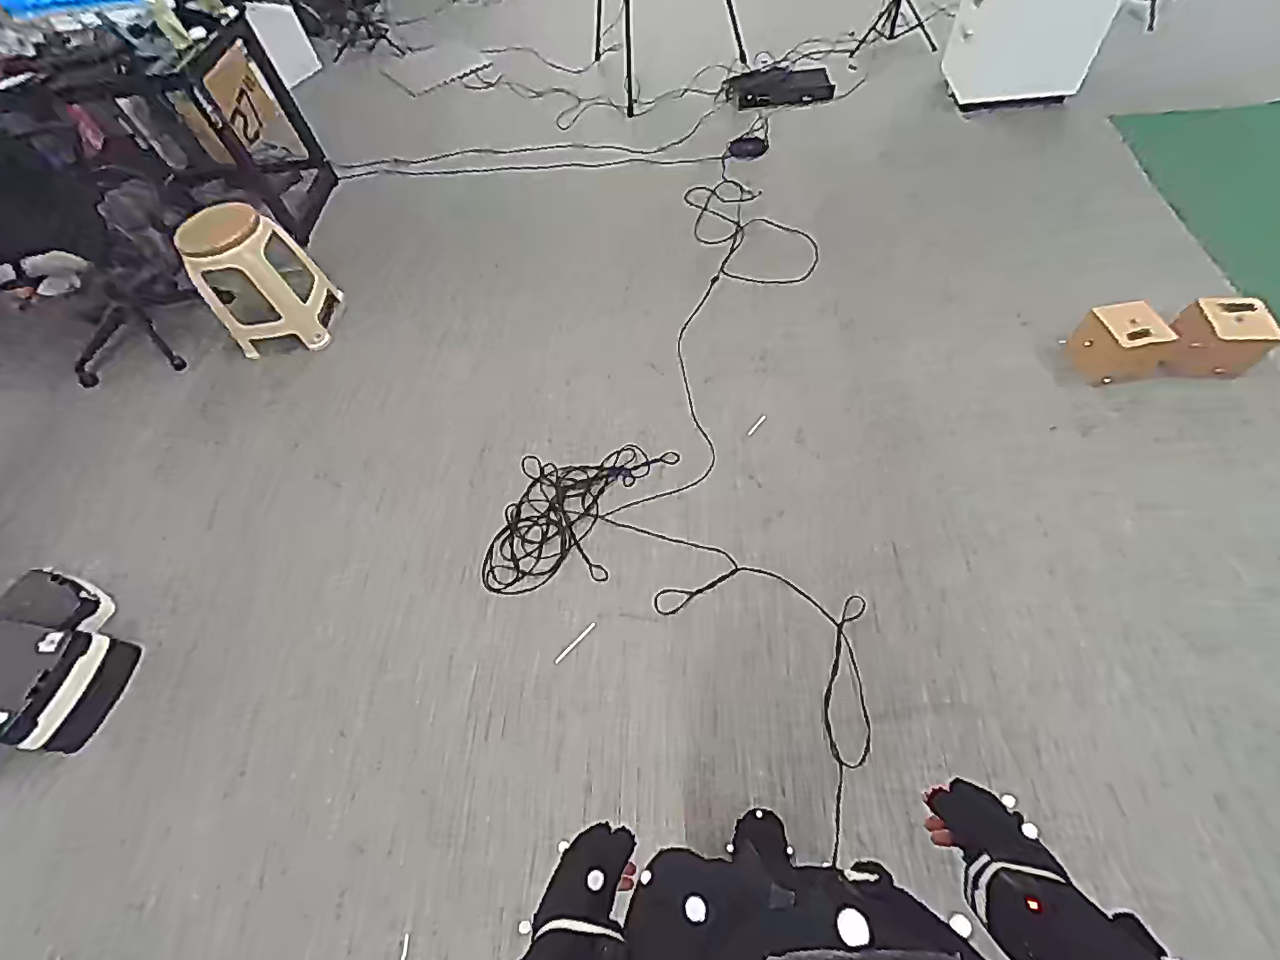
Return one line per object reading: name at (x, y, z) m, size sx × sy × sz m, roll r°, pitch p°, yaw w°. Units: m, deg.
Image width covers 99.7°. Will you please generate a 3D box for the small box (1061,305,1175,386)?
small box at (1.476, -0.411, 1.684) m, size 0.168 × 0.176 × 0.179 m, roll -9°, pitch 56°, yaw 1°
